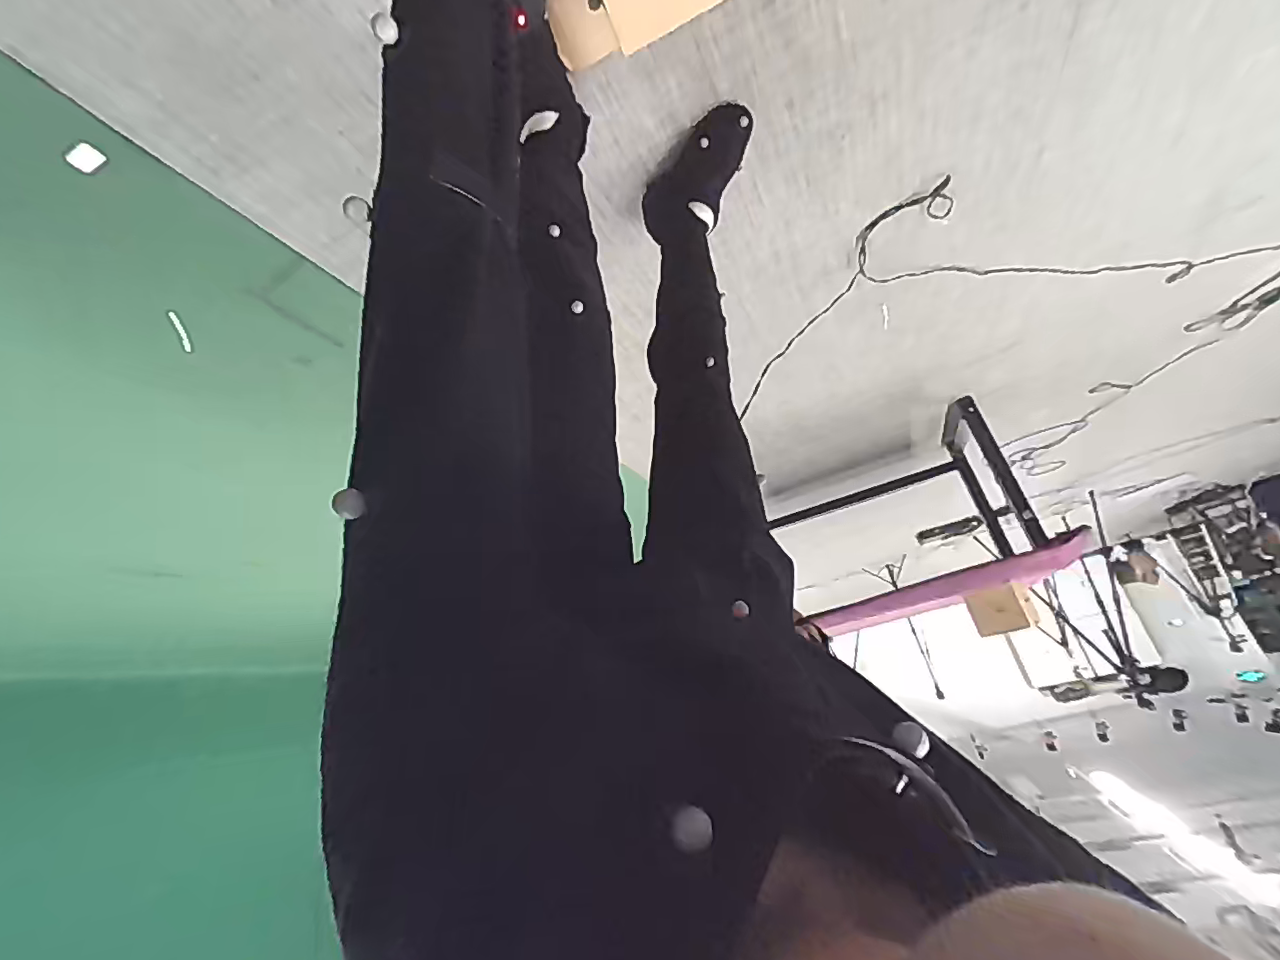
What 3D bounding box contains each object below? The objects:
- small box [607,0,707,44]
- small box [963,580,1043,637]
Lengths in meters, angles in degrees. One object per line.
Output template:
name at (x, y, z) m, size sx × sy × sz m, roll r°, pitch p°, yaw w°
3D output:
small box at (0.010, -0.640, 0.578) m, size 0.168 × 0.176 × 0.179 m, roll -20°, pitch 156°, yaw 14°
small box at (1.342, 0.472, 2.004) m, size 0.168 × 0.176 × 0.179 m, roll 9°, pitch 148°, yaw -42°
